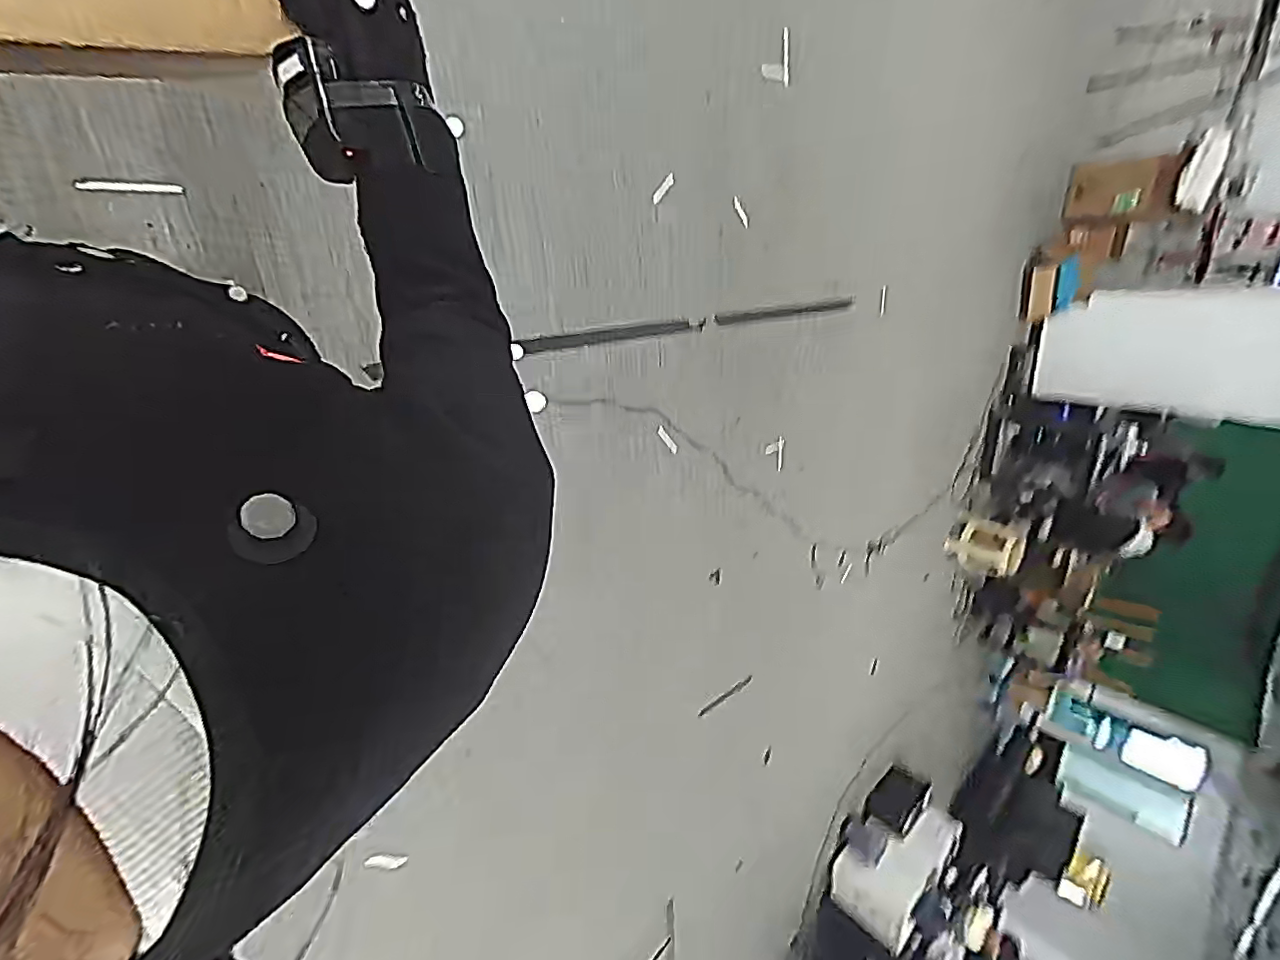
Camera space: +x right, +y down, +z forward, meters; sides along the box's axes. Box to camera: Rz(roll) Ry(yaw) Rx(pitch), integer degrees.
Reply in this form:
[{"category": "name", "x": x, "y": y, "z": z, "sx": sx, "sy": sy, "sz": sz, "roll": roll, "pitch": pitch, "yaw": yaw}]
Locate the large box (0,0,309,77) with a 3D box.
[{"category": "large box", "x": -0.462, "y": -0.397, "z": 0.258, "sx": 0.408, "sy": 0.320, "sz": 0.320, "roll": -25, "pitch": 132, "yaw": -33}]
